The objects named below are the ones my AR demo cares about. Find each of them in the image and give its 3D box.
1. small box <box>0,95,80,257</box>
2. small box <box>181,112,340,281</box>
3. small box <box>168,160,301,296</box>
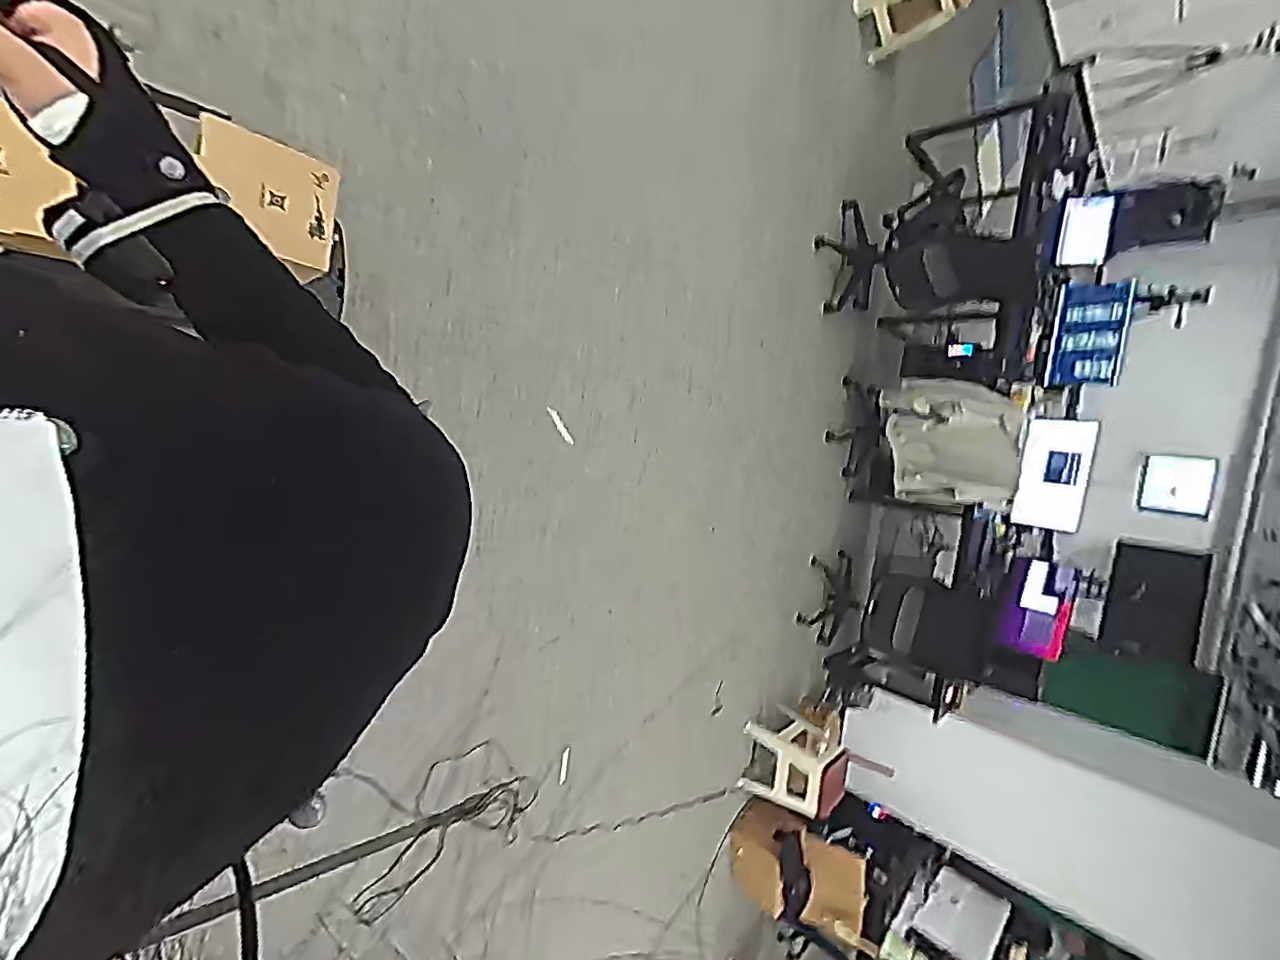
[{"bbox_3d":[-0.921,-0.436,0.772,0.168,0.176,0.179,0,98,-45],"label":"small box"},{"bbox_3d":[-0.607,-0.430,0.860,0.179,0.176,0.168,6,93,-45],"label":"small box"},{"bbox_3d":[-0.725,-0.436,0.973,0.179,0.176,0.168,4,95,-45],"label":"small box"}]
